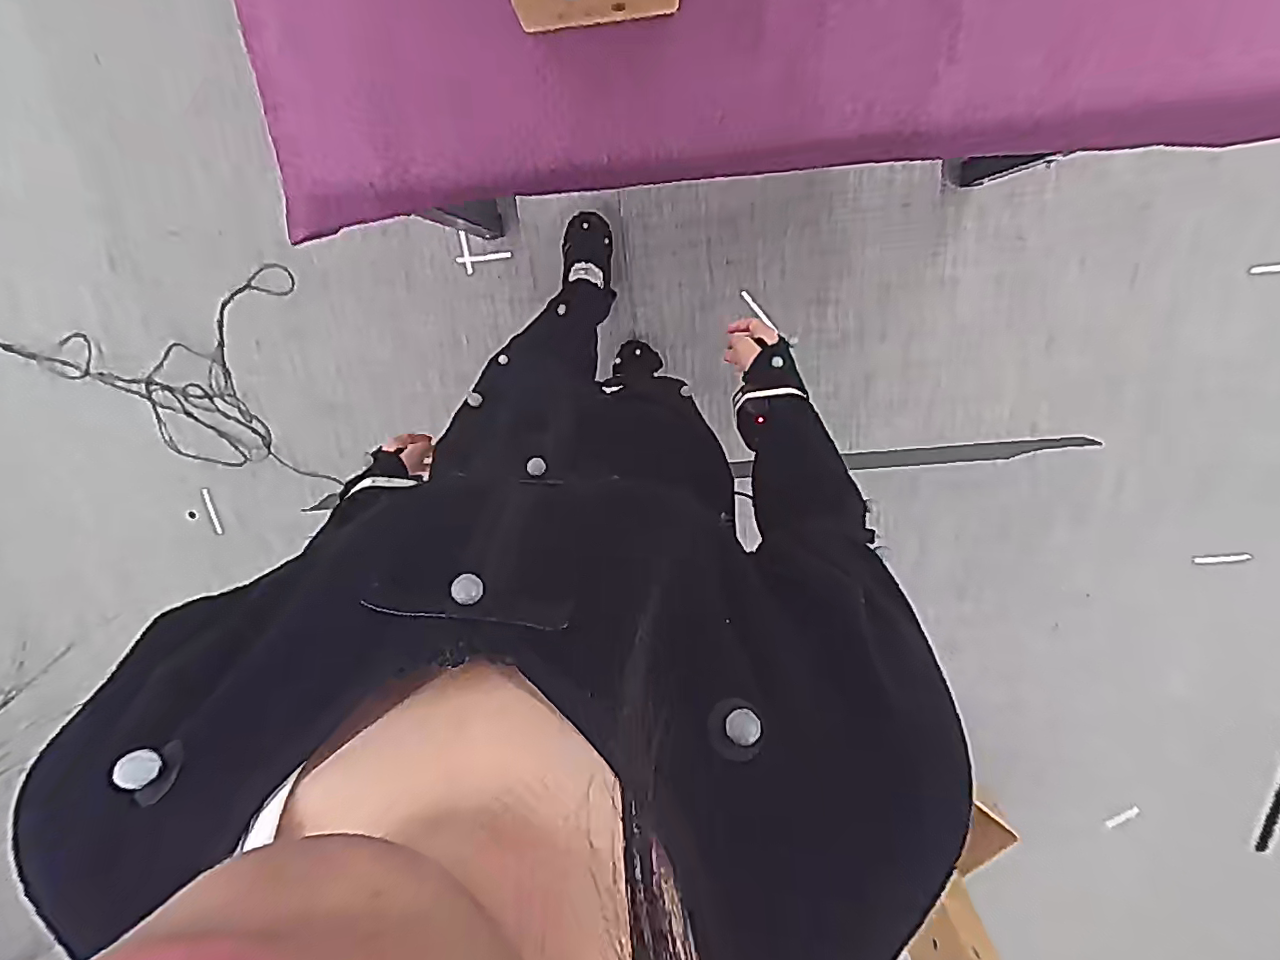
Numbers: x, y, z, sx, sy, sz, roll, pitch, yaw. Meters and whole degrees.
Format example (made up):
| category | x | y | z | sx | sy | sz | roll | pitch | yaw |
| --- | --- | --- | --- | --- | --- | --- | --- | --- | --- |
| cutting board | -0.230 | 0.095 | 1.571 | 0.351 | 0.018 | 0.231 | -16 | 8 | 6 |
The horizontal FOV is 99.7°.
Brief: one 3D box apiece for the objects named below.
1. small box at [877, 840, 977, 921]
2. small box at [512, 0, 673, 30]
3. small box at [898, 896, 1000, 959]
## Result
| category | x | y | z | sx | sy | sz | roll | pitch | yaw |
| --- | --- | --- | --- | --- | --- | --- | --- | --- | --- |
| small box | 0.862 | 1.239 | 1.644 | 0.179 | 0.176 | 0.168 | 35 | 107 | -12 |
| small box | -0.054 | -0.541 | 0.481 | 0.168 | 0.176 | 0.179 | -6 | 108 | 3 |
| small box | 0.856 | 1.297 | 1.489 | 0.179 | 0.176 | 0.168 | 35 | 108 | -11 |
